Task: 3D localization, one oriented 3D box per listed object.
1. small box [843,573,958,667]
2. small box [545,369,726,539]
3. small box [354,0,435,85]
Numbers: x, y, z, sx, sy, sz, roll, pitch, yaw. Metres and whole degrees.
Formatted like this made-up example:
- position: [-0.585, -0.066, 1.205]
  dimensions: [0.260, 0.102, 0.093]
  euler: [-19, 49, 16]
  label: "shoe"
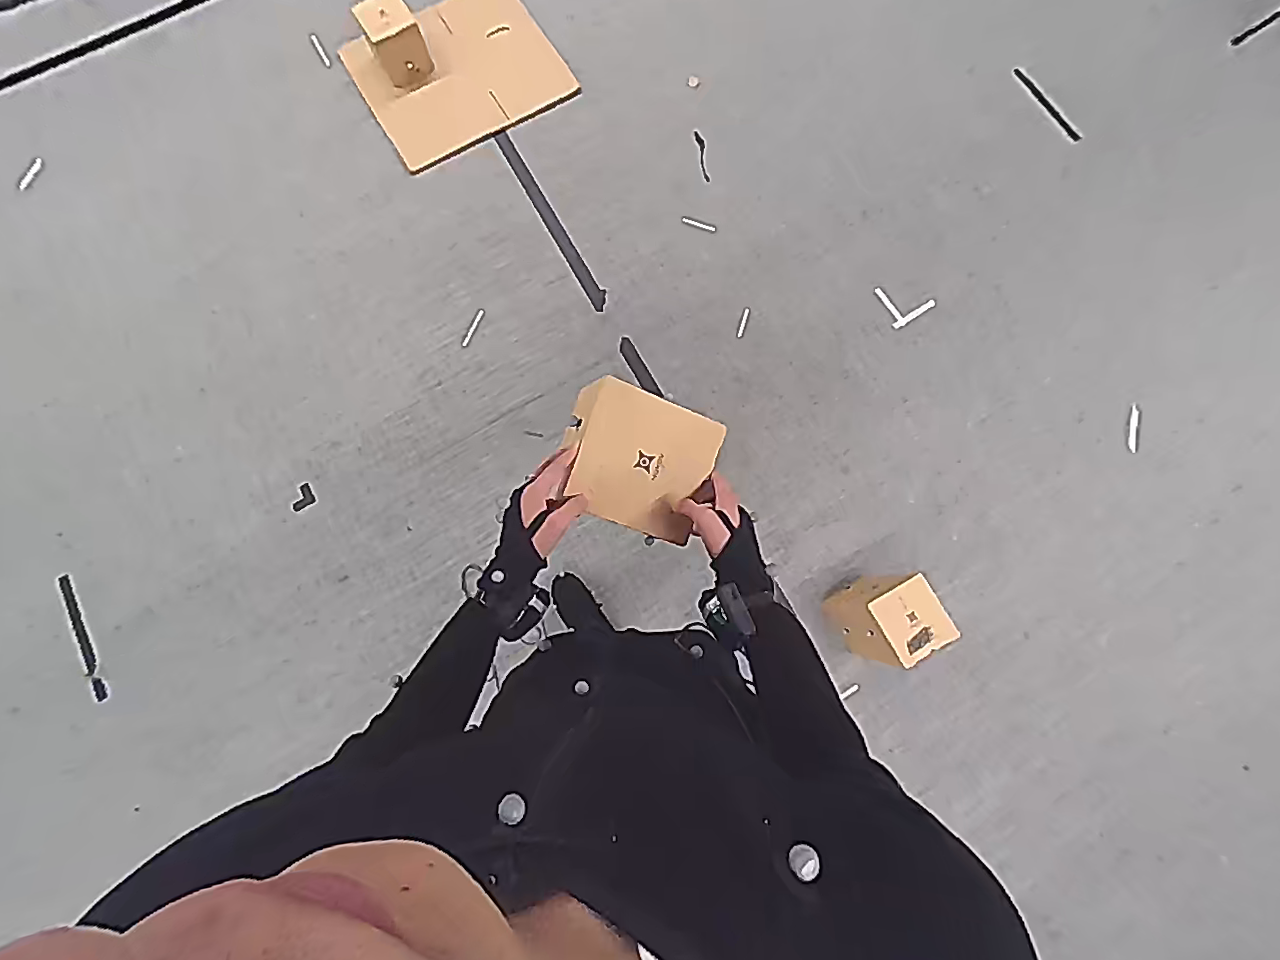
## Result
- position: [0.663, 0.354, 1.395]
  dimensions: [0.168, 0.176, 0.179]
  euler: [-28, 80, -7]
  label: "small box"
- position: [-0.017, -0.033, 0.740]
  dimensions: [0.179, 0.176, 0.168]
  euler: [21, 88, -18]
  label: "small box"
- position: [-0.854, -1.549, 1.895]
  dimensions: [0.168, 0.176, 0.179]
  euler: [-31, 81, -6]
  label: "small box"
